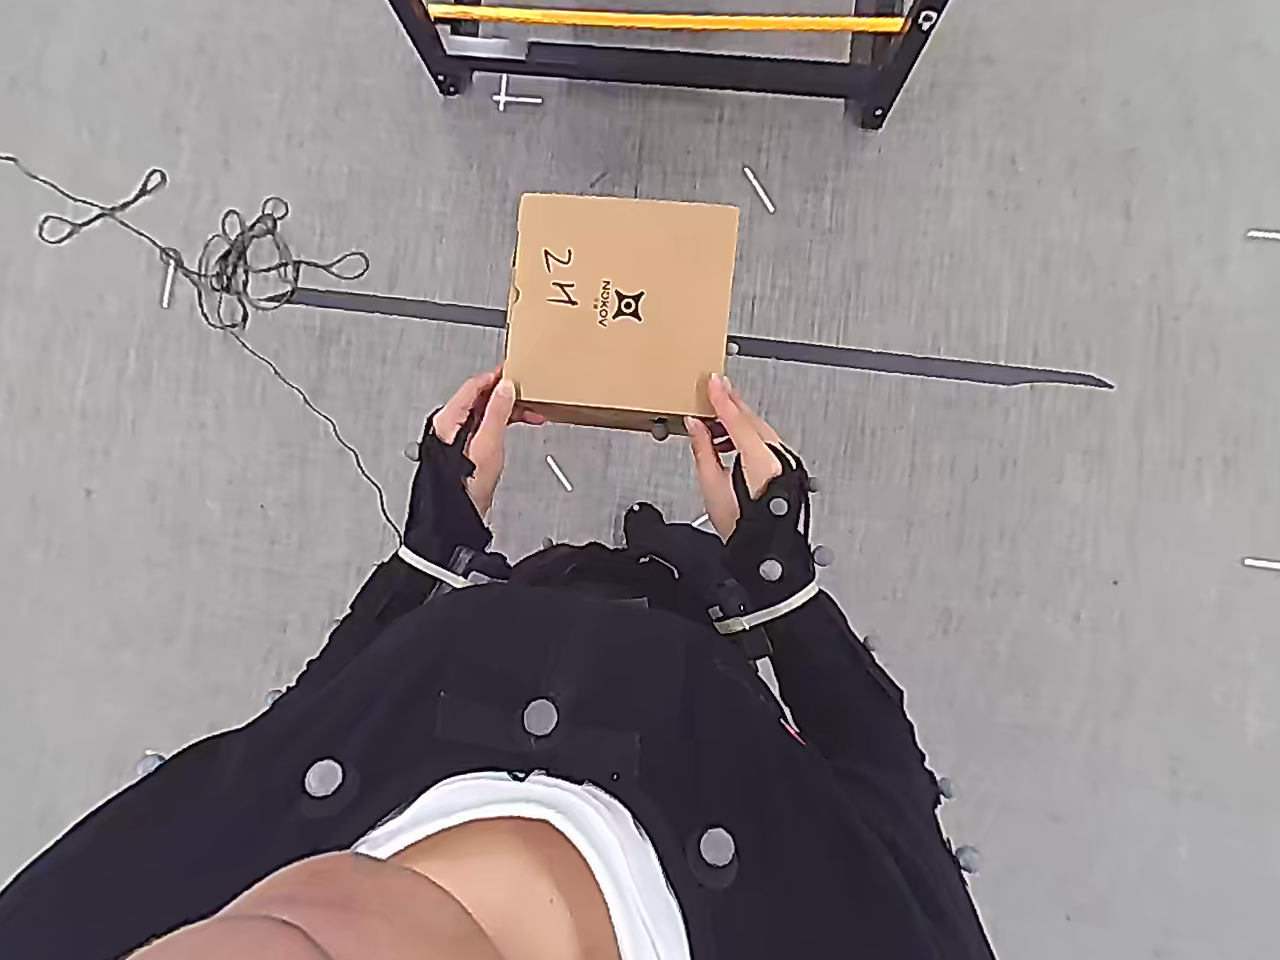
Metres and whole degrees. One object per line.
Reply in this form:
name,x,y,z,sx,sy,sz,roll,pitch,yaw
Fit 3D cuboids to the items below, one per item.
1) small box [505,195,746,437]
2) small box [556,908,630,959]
small box,-0.007,-0.134,0.501,0.179,0.176,0.168,6,89,4
small box,-0.117,1.155,1.263,0.168,0.176,0.179,9,89,4
